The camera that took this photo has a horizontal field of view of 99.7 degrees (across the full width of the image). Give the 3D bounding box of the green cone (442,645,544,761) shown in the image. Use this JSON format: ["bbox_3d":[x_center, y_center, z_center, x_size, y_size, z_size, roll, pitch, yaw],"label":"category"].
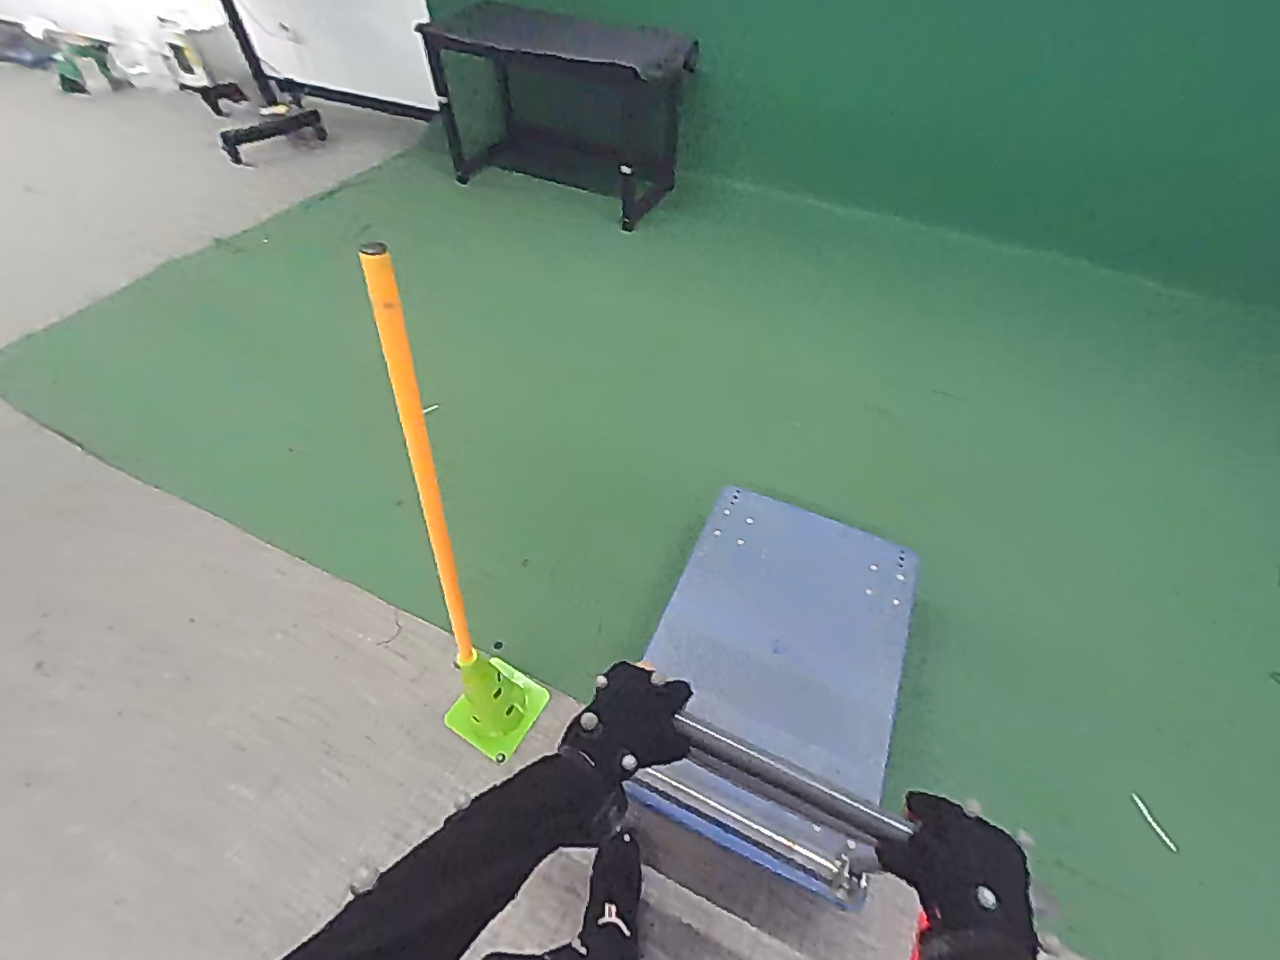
[{"bbox_3d":[-0.369,0.474,1.255,0.202,0.368,0.200,25,53,18],"label":"green cone"}]
